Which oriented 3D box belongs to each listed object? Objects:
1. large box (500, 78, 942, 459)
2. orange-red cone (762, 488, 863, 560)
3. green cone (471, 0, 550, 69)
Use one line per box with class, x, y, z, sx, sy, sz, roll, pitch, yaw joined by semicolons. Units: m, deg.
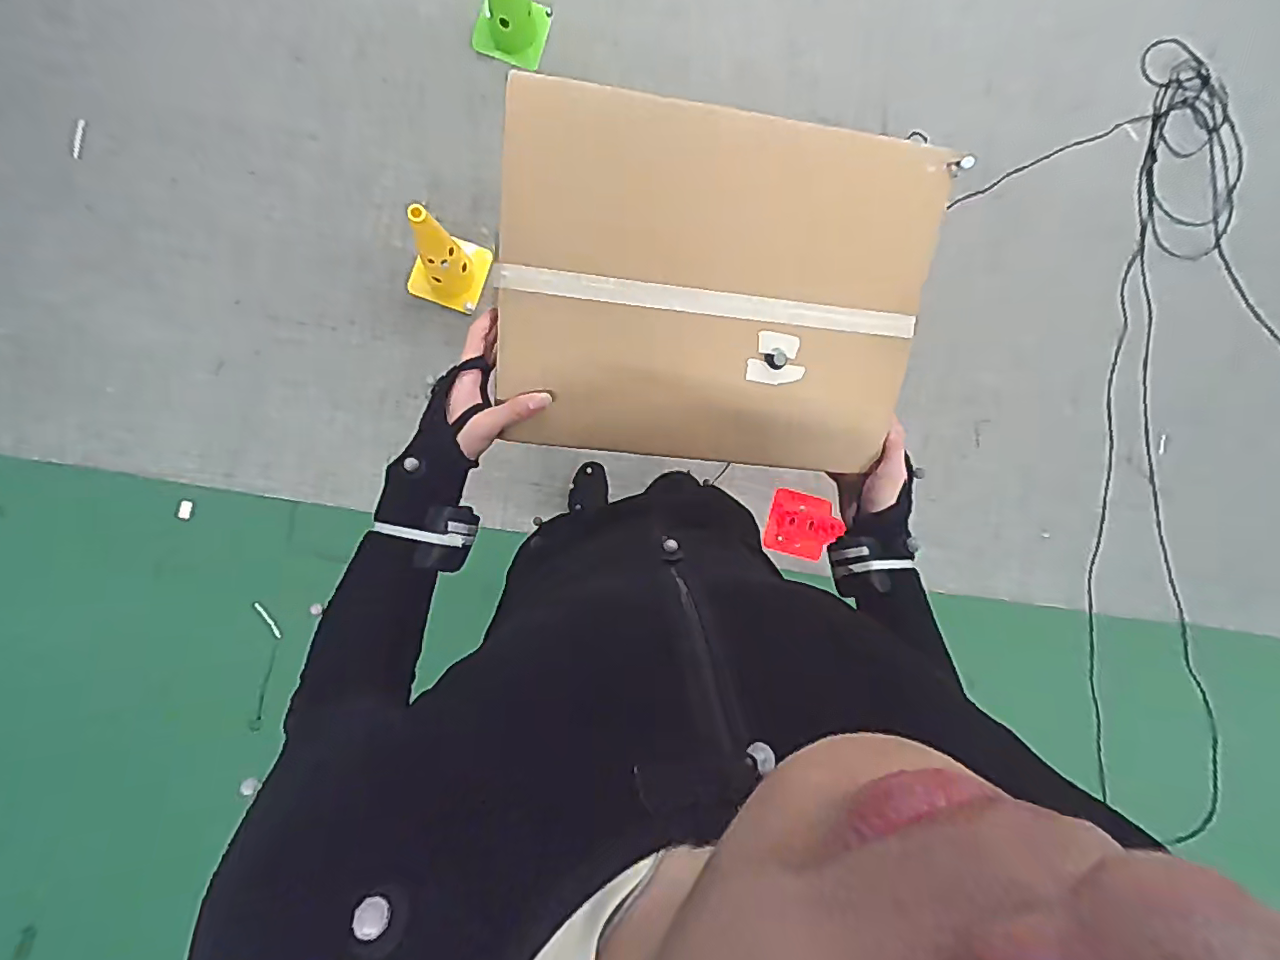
large box;0.054;-0.225;0.661;0.408;0.320;0.320;5;109;-8
orange-red cone;0.520;0.140;1.530;0.199;0.360;0.198;17;88;-8
green cone;-0.363;-1.336;1.429;0.200;0.368;0.202;15;89;-7
